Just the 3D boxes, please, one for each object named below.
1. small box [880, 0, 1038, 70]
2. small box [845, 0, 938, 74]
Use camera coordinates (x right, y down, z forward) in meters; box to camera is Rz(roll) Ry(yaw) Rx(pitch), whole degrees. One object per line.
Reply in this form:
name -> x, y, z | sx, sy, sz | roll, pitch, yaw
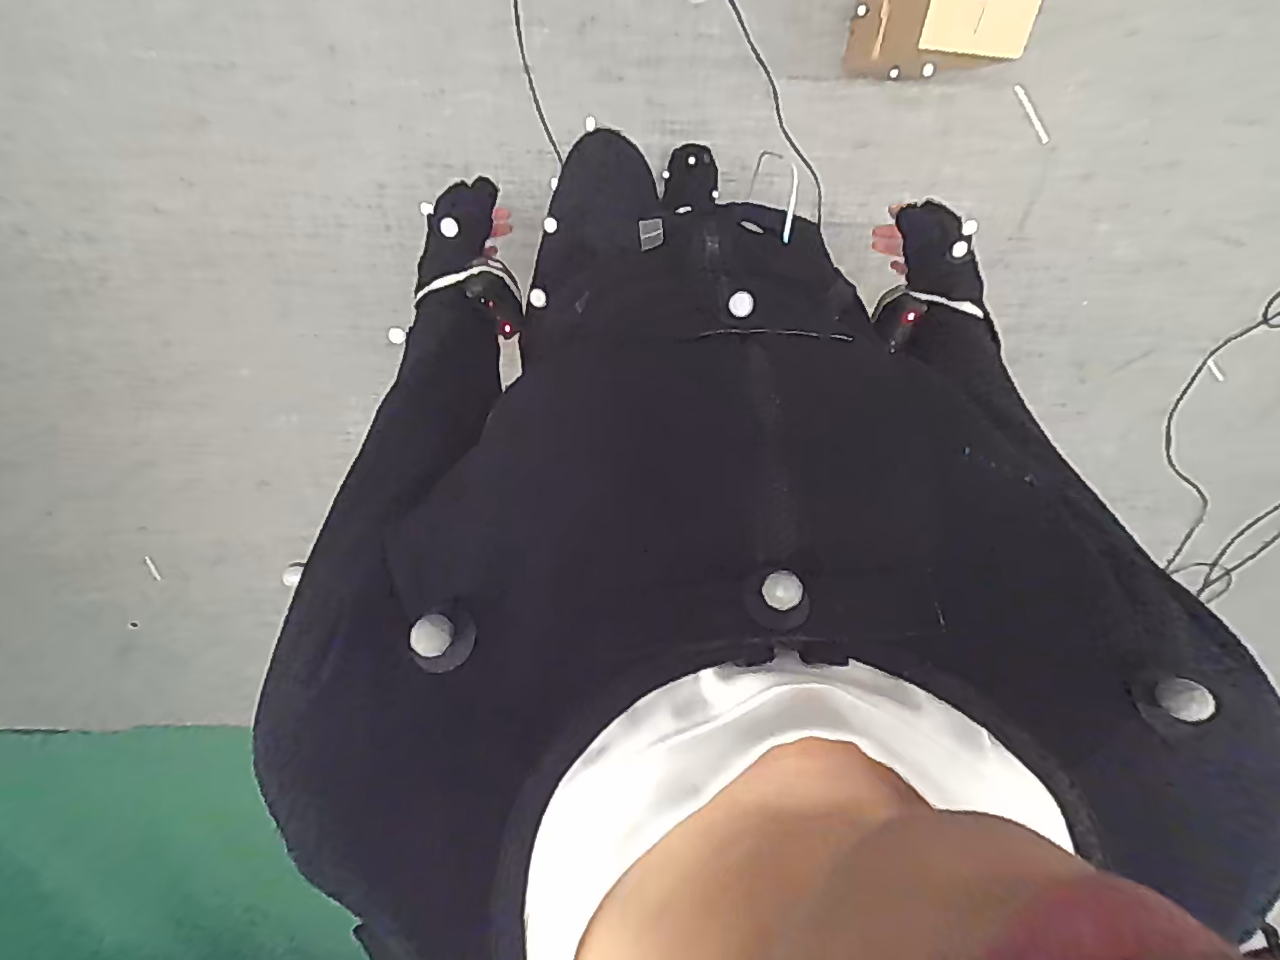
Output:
small box -> 0.507, -0.773, 0.853 | 0.168, 0.176, 0.179 | 4, 122, -3
small box -> 0.501, -0.860, 0.993 | 0.179, 0.176, 0.168 | 4, 122, -2
